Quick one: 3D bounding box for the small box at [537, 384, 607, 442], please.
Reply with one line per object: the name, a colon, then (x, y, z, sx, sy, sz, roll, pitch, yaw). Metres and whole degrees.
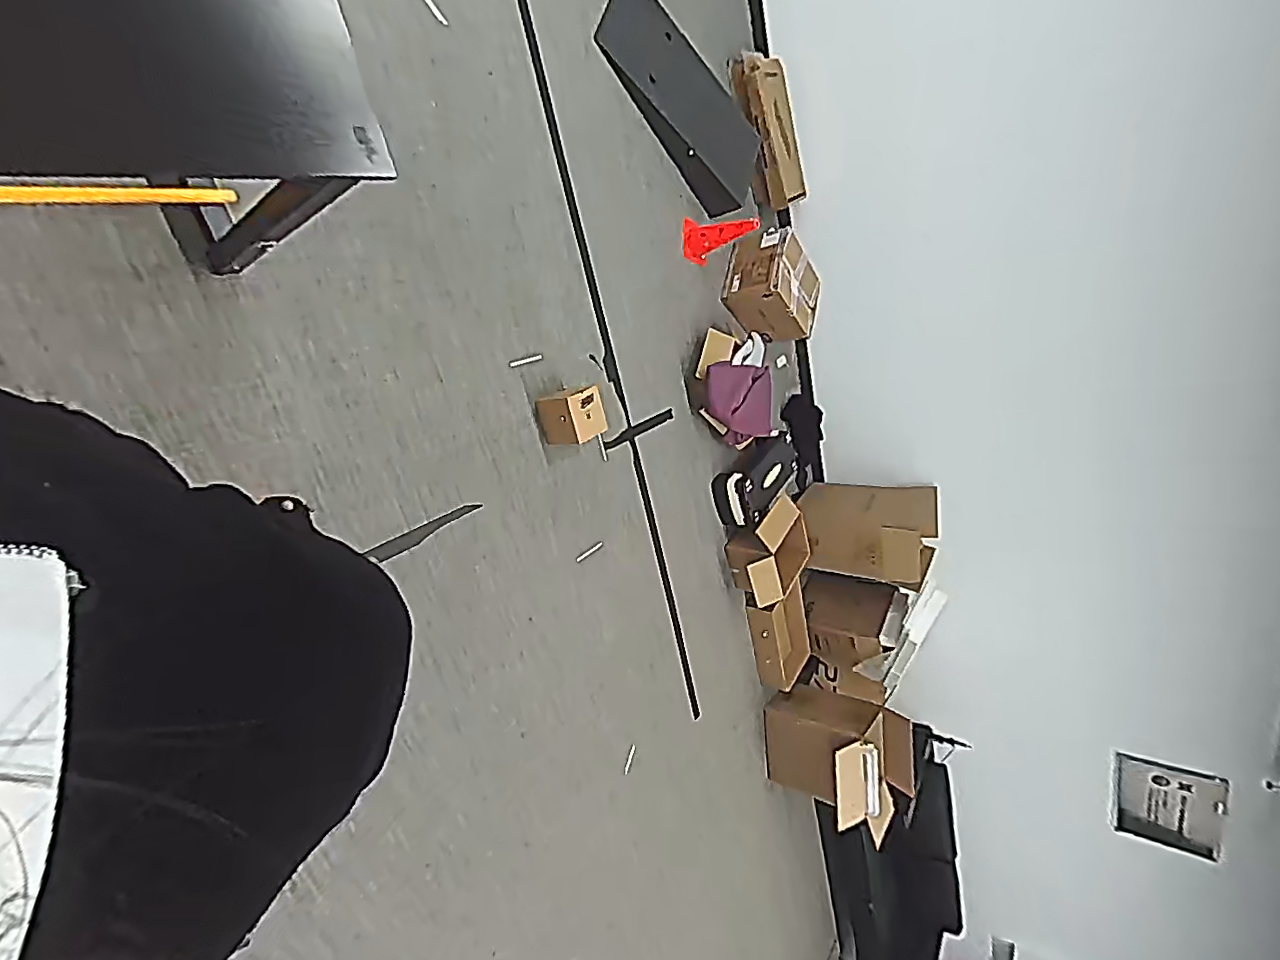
small box: (-0.254, -0.244, 2.000, 0.168, 0.176, 0.179, -34, 117, -45)
